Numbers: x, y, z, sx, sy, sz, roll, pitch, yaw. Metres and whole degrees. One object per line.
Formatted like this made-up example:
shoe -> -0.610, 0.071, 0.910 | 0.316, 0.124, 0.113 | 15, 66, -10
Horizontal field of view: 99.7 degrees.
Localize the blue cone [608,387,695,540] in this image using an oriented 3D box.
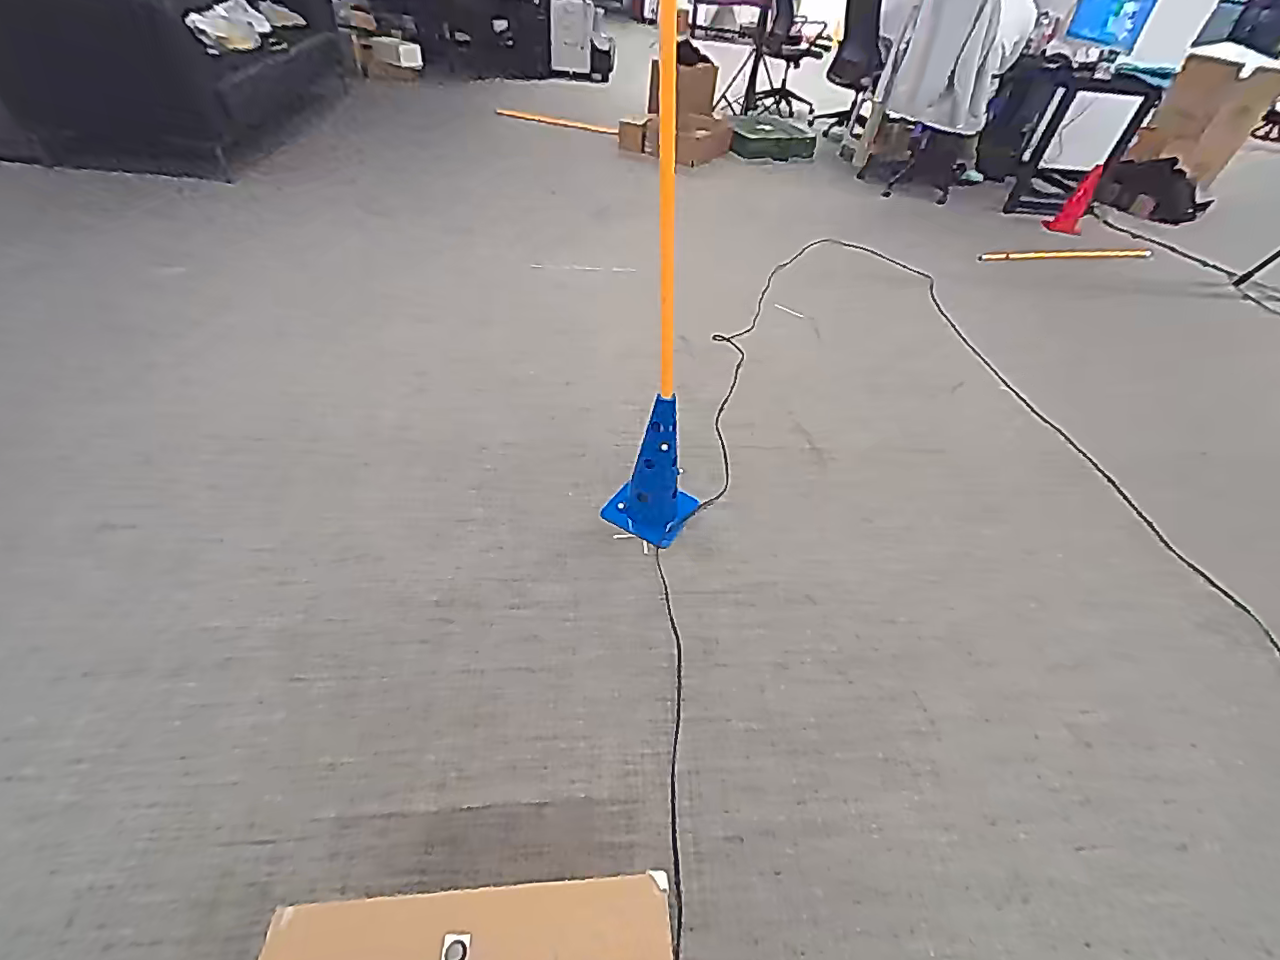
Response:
blue cone -> 0.045, -0.051, 1.269 | 0.192, 0.380, 0.193 | 24, 47, 17
